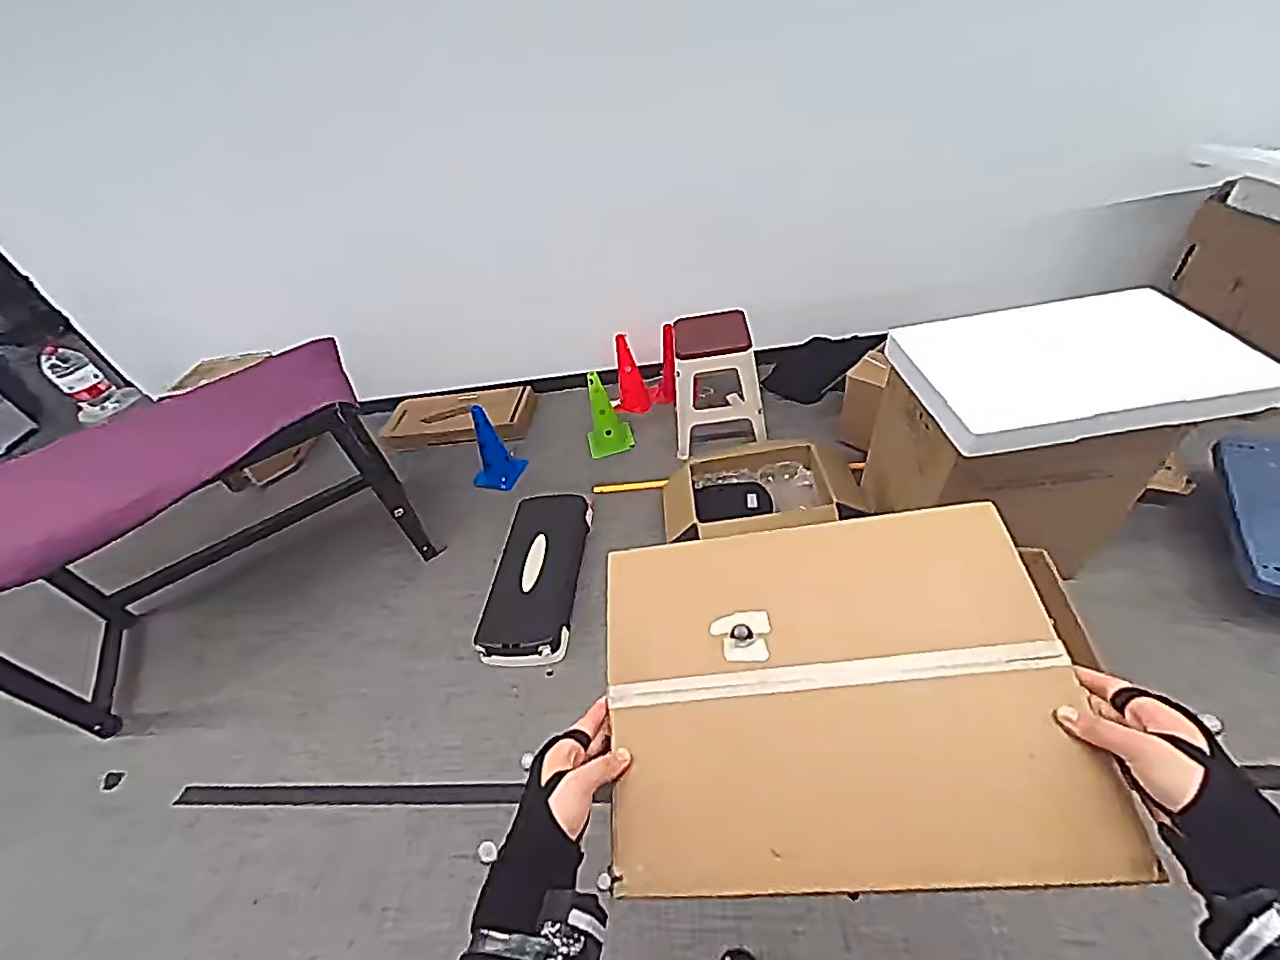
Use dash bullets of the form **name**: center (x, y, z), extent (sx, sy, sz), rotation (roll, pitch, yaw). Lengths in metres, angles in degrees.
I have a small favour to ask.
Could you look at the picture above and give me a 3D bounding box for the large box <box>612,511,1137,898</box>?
- **large box**: center (0.204, 0.271, 0.632), extent (0.408, 0.320, 0.320), rotation (-10, 54, 9)
